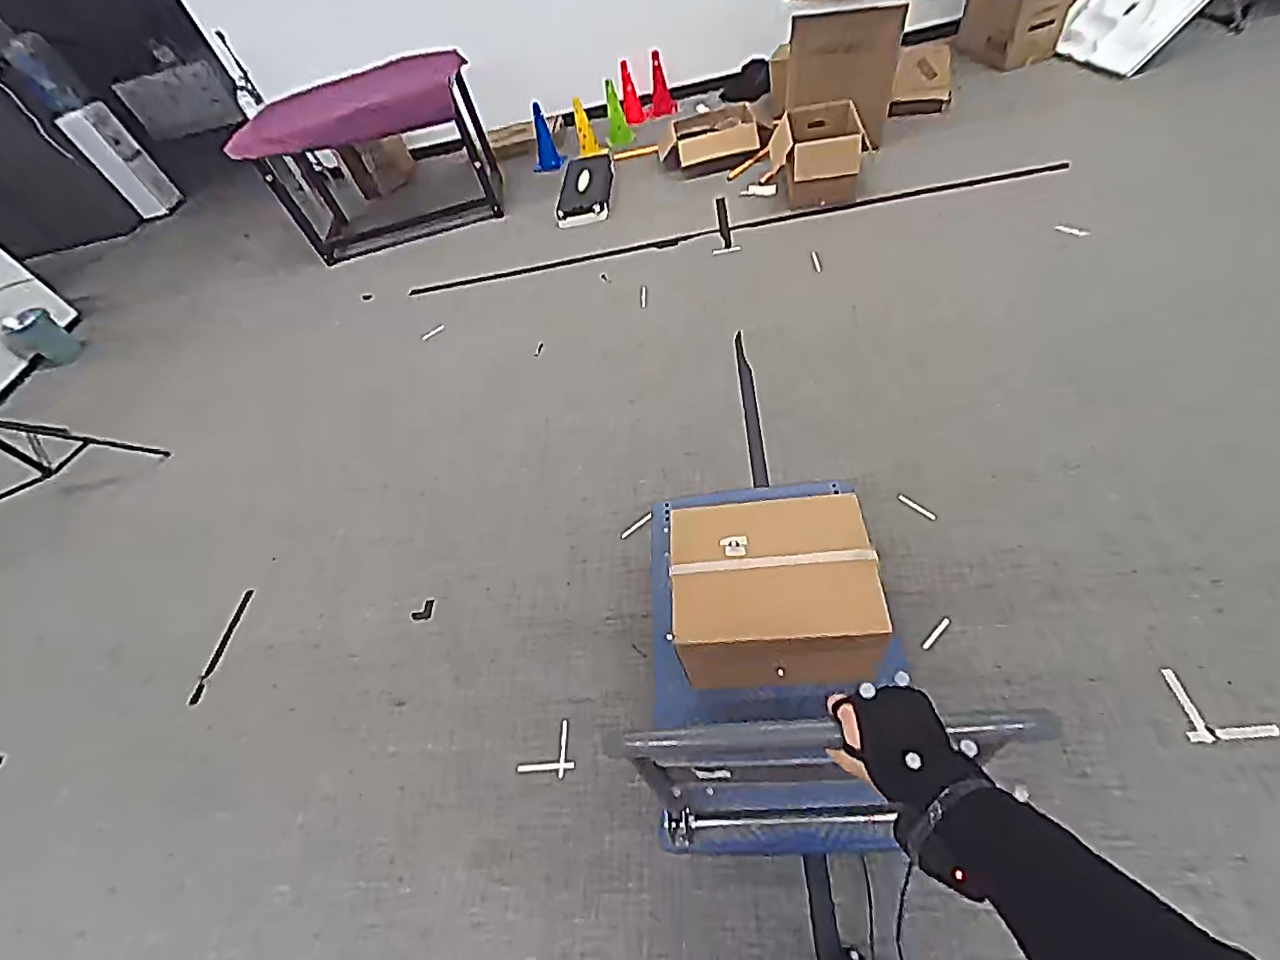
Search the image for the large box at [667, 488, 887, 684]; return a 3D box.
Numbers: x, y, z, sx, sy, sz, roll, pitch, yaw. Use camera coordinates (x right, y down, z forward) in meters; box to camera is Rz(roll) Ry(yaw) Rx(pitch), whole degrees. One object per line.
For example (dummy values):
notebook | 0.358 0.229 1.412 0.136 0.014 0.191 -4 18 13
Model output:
large box | 0.287 0.251 1.209 0.408 0.320 0.320 -7 51 11
